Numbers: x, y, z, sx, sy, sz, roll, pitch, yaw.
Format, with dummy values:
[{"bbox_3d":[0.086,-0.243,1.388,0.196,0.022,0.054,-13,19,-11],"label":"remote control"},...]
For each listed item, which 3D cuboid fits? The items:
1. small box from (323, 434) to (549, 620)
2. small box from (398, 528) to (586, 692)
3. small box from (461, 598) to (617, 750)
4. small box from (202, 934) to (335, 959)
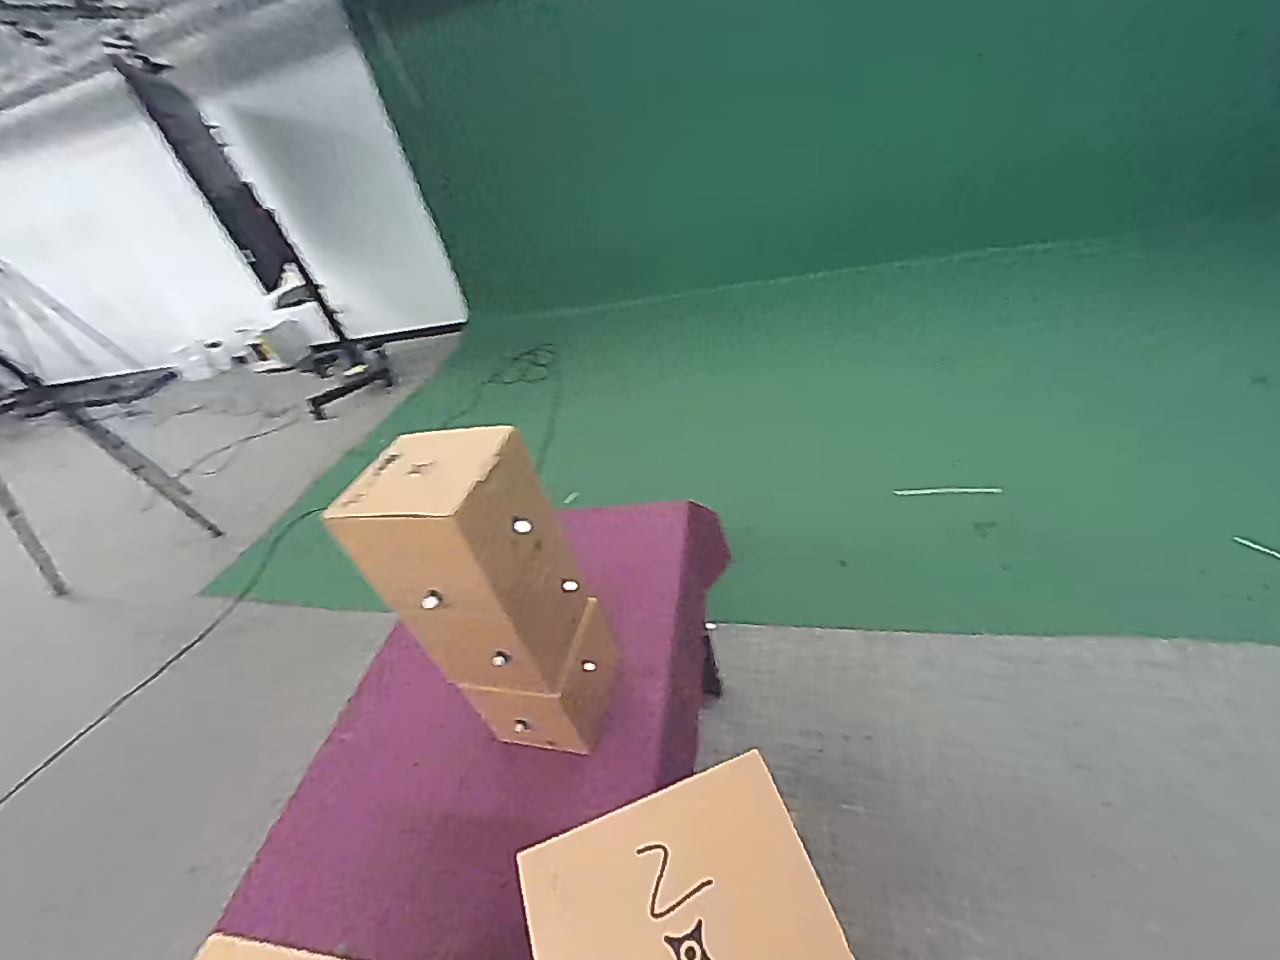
[{"bbox_3d":[-0.237,0.059,0.681,0.179,0.176,0.168,-2,38,19],"label":"small box"},{"bbox_3d":[-0.197,0.184,0.780,0.179,0.176,0.168,-2,38,20],"label":"small box"},{"bbox_3d":[-0.149,0.309,0.874,0.168,0.176,0.179,-1,39,20],"label":"small box"},{"bbox_3d":[-0.266,0.487,0.415,0.179,0.176,0.168,-7,36,18],"label":"small box"}]
